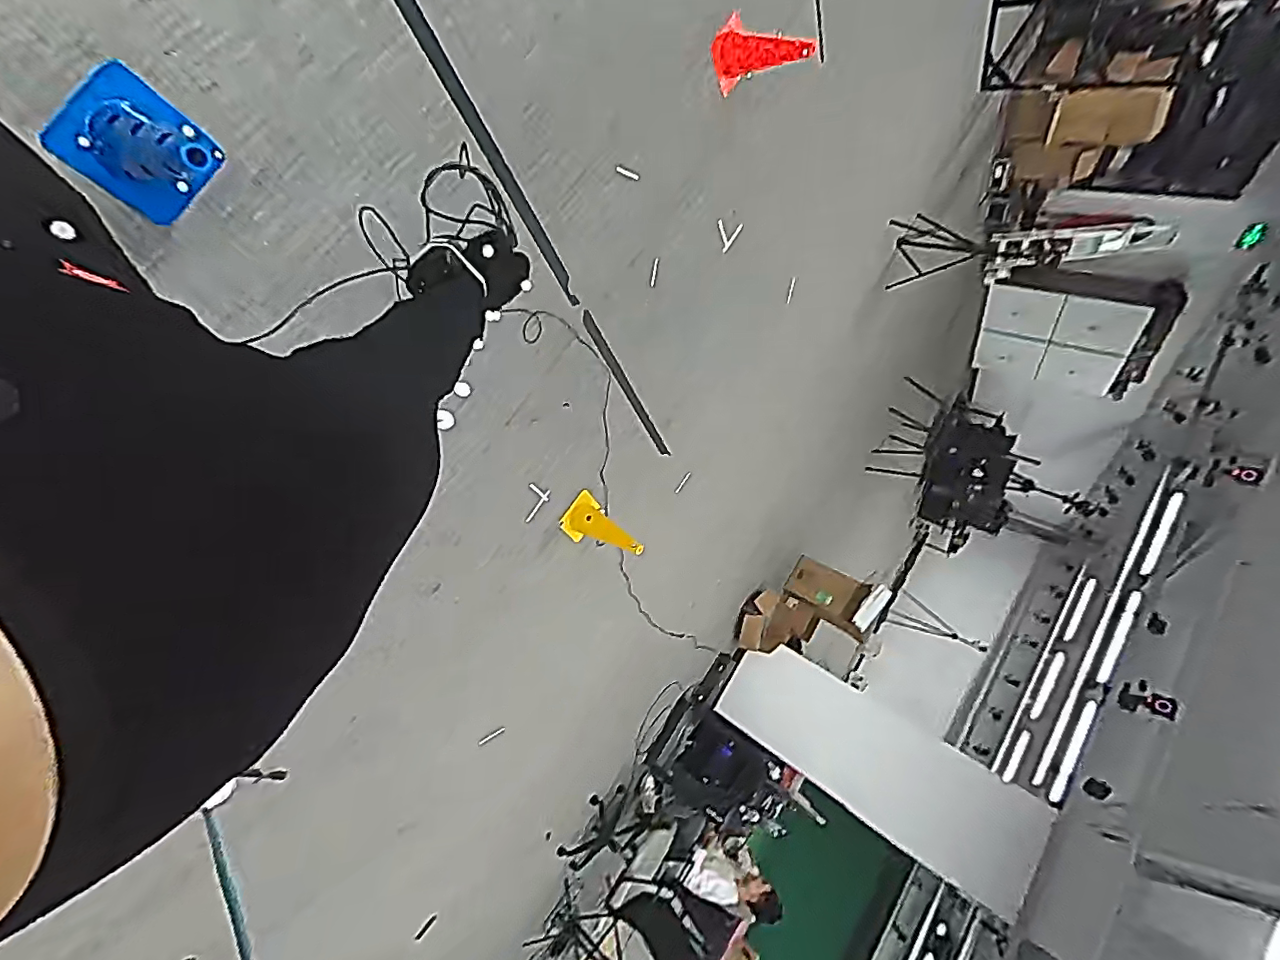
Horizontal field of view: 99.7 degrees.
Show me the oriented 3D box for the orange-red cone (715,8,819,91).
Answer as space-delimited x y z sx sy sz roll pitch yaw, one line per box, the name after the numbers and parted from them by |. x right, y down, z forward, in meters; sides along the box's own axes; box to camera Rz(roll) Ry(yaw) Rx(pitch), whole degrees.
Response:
0.483 -1.589 1.979 0.198 0.360 0.199 -58 145 -10 | orange-red cone

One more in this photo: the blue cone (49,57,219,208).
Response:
-0.796 -0.568 0.902 0.192 0.380 0.193 -58 146 -9 | blue cone
